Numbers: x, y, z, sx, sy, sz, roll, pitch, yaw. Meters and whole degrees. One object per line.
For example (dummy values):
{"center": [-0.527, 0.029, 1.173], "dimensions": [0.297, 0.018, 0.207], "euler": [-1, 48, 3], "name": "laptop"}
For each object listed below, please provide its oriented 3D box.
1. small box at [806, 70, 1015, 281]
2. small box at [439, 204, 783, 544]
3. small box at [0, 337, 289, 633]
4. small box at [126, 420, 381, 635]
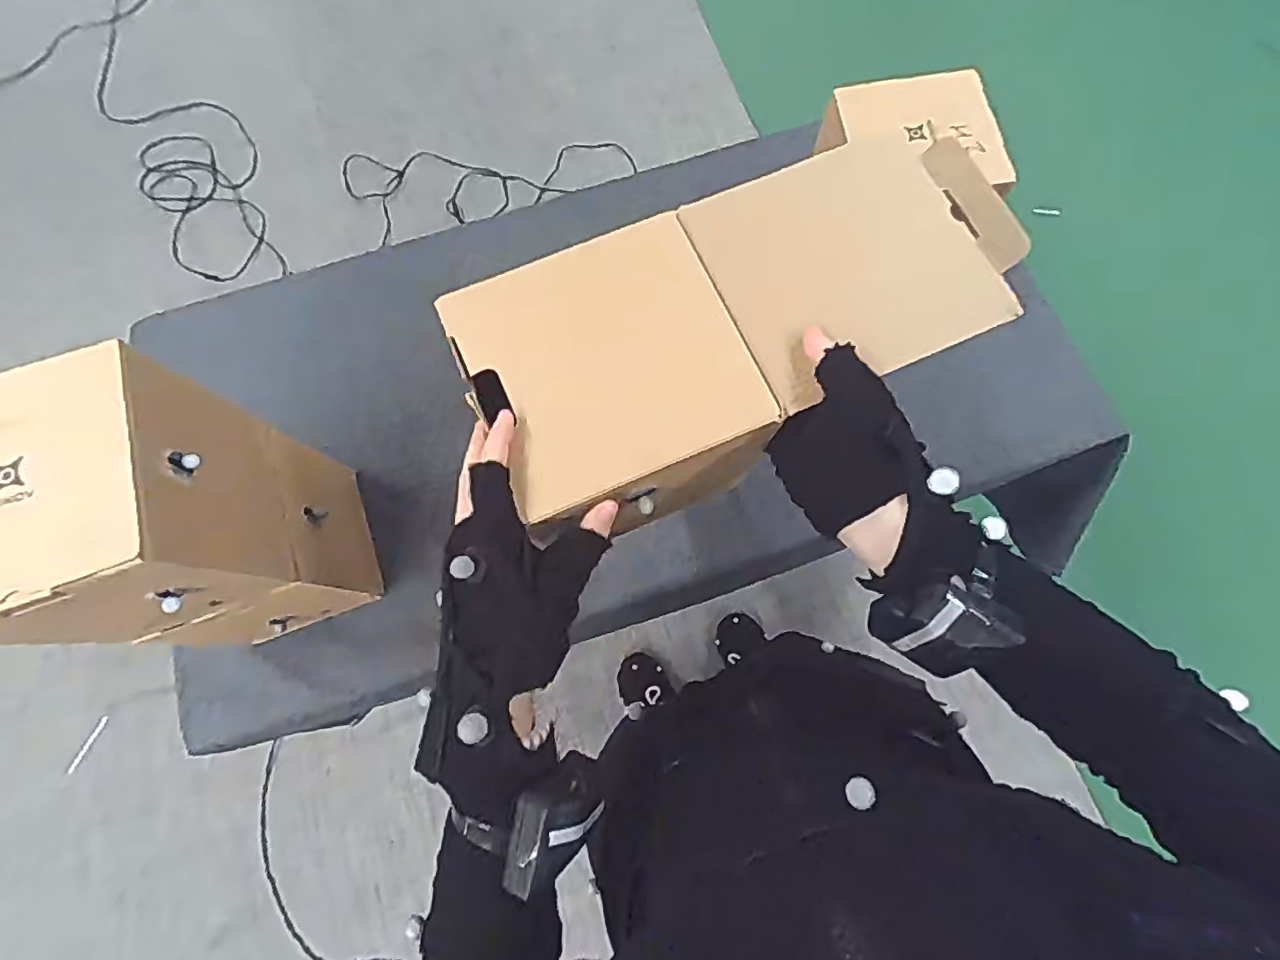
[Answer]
{"center": [0.326, -0.377, 0.697], "dimensions": [0.179, 0.176, 0.168], "euler": [-7, 75, 0], "name": "small box"}
{"center": [-0.020, -0.062, 0.414], "dimensions": [0.179, 0.176, 0.168], "euler": [-22, 77, -5], "name": "small box"}
{"center": [-0.425, 0.019, 0.444], "dimensions": [0.168, 0.176, 0.179], "euler": [-18, 75, -5], "name": "small box"}
{"center": [-0.420, 0.064, 0.601], "dimensions": [0.168, 0.176, 0.179], "euler": [-20, 75, -4], "name": "small box"}
